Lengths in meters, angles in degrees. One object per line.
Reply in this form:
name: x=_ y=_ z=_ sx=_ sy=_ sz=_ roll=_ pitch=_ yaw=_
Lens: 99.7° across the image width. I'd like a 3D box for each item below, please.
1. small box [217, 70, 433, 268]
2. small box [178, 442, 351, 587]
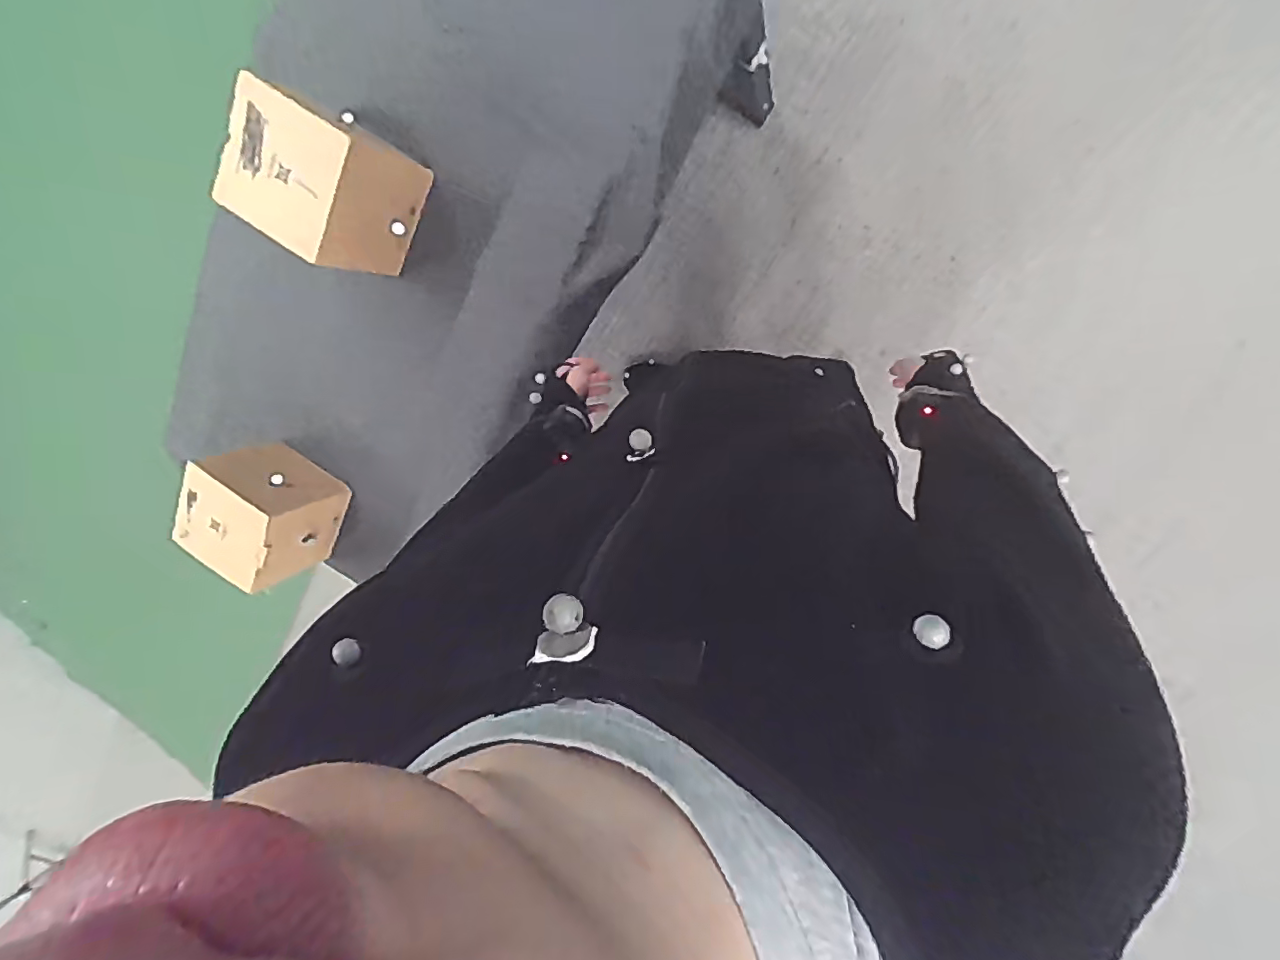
small box: x=-0.433 y=-0.417 z=0.763 sx=0.179 sy=0.176 sz=0.168 roll=33 pitch=111 yaw=3
small box: x=-0.655 y=0.050 z=0.957 sx=0.179 sy=0.176 sz=0.168 roll=31 pitch=111 yaw=4
